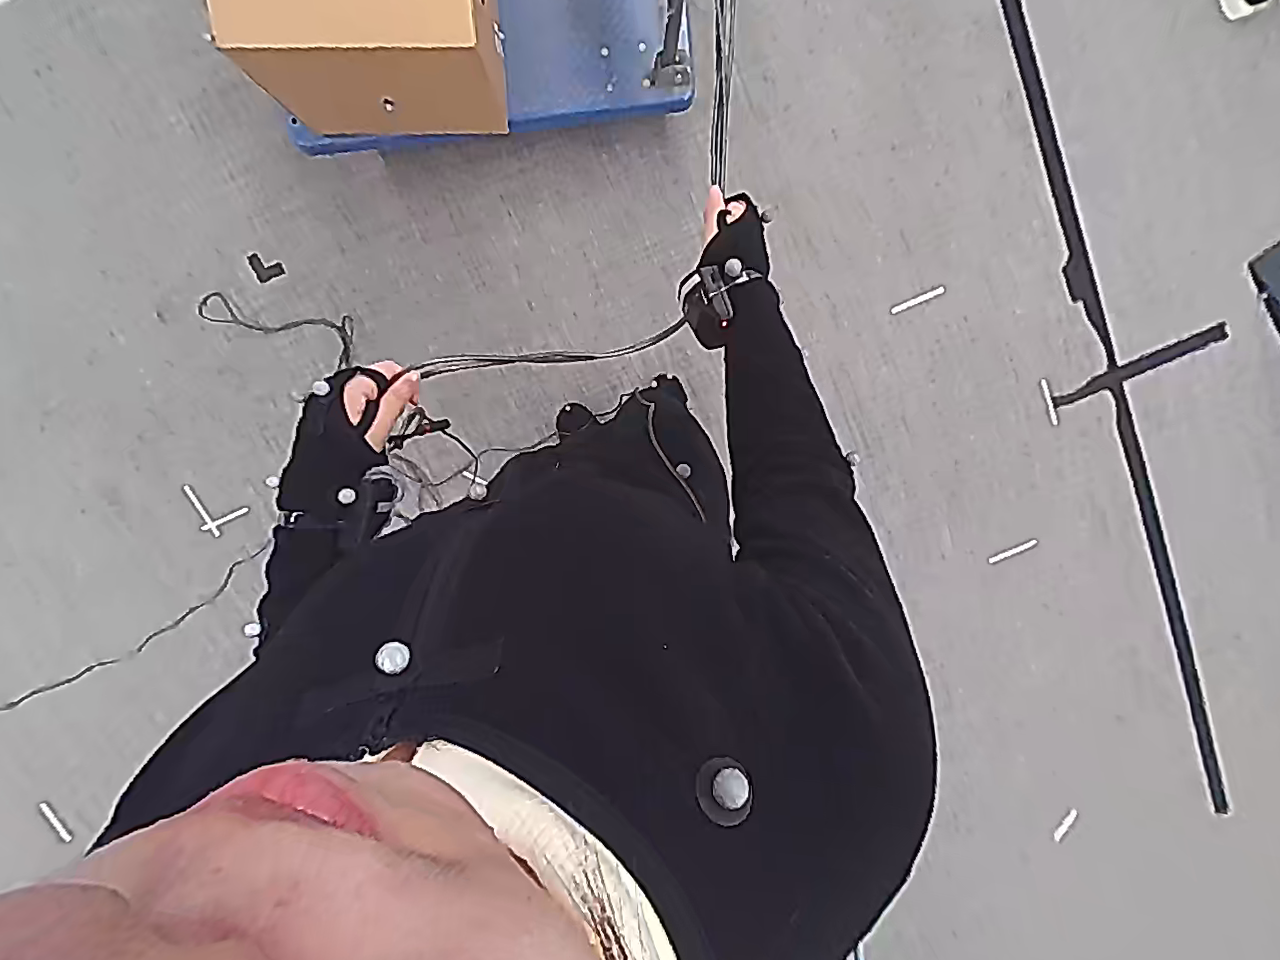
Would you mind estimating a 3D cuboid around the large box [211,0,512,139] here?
[{"bbox_3d":[-0.469,-0.846,0.970,0.408,0.320,0.320,-3,100,-3],"label":"large box"}]
